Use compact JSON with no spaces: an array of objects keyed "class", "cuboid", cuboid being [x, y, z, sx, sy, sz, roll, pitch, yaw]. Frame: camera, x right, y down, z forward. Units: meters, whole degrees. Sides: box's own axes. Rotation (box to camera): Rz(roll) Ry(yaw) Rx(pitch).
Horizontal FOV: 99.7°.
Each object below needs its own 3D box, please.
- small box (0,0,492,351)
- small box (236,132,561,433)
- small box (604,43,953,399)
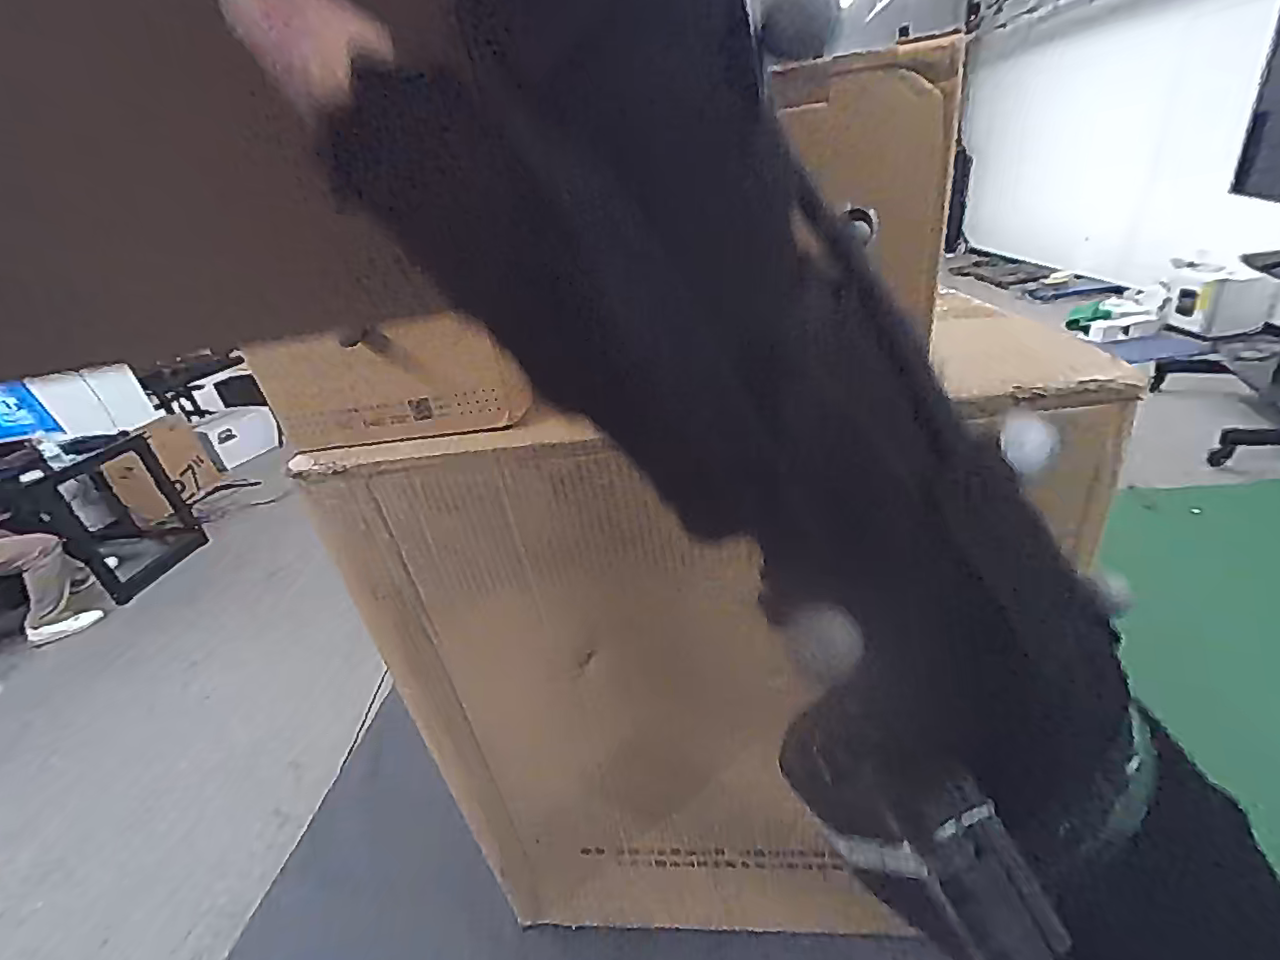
[{"class":"small box","cuboid":[-0.136,-0.145,0.108,0.179,0.168,0.176,-10,-16,-3]},{"class":"small box","cuboid":[-0.166,-0.142,0.400,0.168,0.176,0.179,-5,31,9]},{"class":"small box","cuboid":[0.080,-0.158,0.362,0.168,0.176,0.179,-3,29,8]}]
